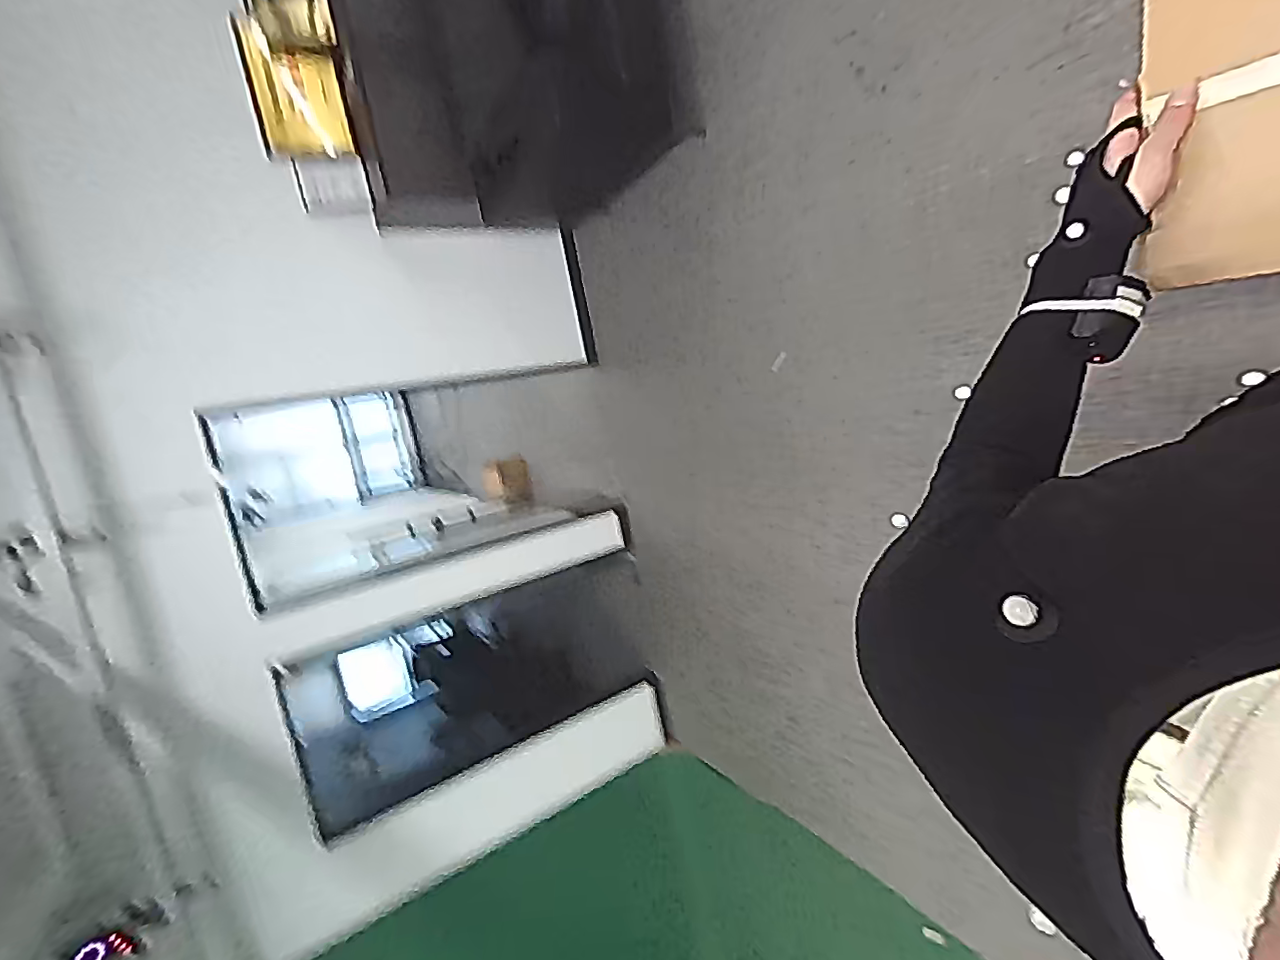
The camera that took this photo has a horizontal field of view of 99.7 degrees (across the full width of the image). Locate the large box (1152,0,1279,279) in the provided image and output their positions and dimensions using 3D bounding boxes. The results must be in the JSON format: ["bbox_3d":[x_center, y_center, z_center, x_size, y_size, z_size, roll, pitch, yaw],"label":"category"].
[{"bbox_3d":[0.702,-0.369,0.424,0.408,0.320,0.320,6,112,51],"label":"large box"}]
